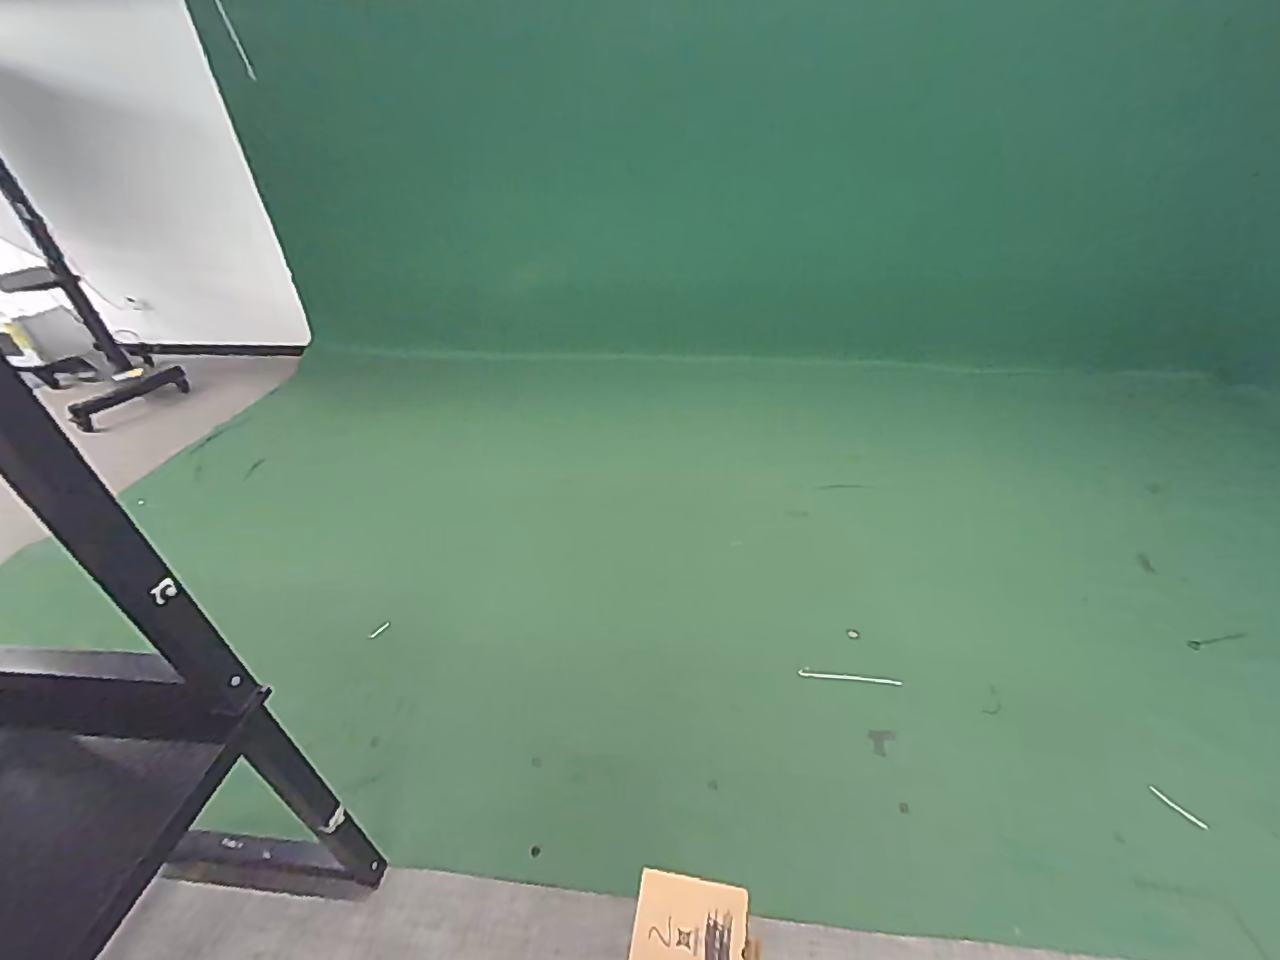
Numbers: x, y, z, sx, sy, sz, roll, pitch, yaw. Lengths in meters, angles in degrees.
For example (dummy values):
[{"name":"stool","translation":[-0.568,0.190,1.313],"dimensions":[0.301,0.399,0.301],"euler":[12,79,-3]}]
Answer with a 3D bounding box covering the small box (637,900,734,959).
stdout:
[{"name":"small box","translation":[0.076,0.891,0.958],"dimensions":[0.168,0.176,0.179],"euler":[5,36,7]}]
